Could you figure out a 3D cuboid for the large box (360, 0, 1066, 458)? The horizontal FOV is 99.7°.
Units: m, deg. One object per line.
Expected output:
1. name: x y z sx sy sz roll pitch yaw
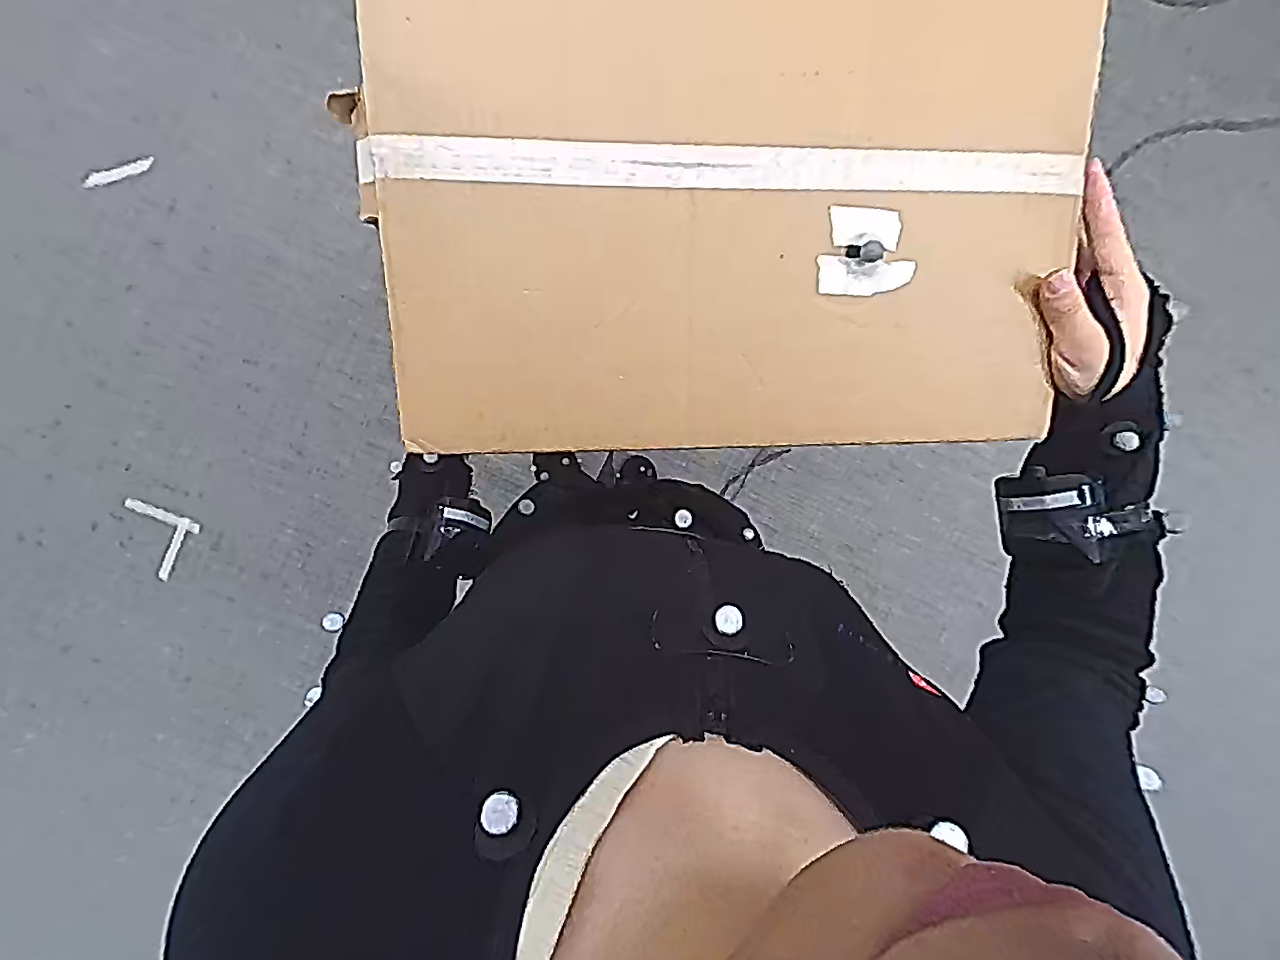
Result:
1. large box: 0.036 -0.203 0.459 0.408 0.320 0.320 -3 102 -7
